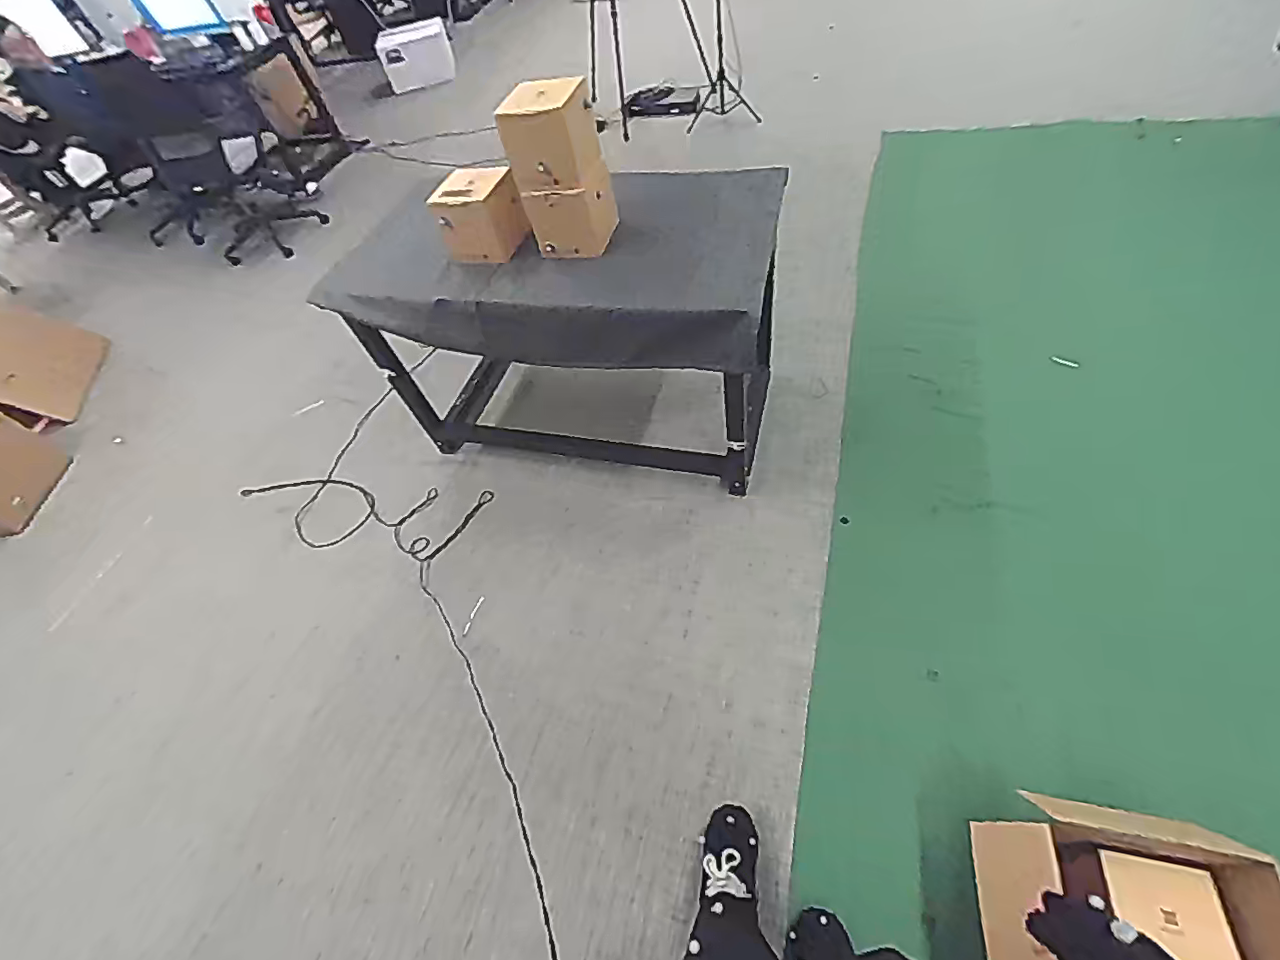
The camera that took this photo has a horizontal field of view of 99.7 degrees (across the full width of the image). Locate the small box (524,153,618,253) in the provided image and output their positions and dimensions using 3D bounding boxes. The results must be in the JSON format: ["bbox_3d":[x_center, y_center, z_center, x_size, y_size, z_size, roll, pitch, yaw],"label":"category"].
[{"bbox_3d":[-0.165,-0.696,1.369,0.168,0.176,0.179,7,56,17],"label":"small box"}]

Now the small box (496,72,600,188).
[{"bbox_3d":[-0.202,-0.804,1.250,0.168,0.176,0.179,5,57,16],"label":"small box"}]
